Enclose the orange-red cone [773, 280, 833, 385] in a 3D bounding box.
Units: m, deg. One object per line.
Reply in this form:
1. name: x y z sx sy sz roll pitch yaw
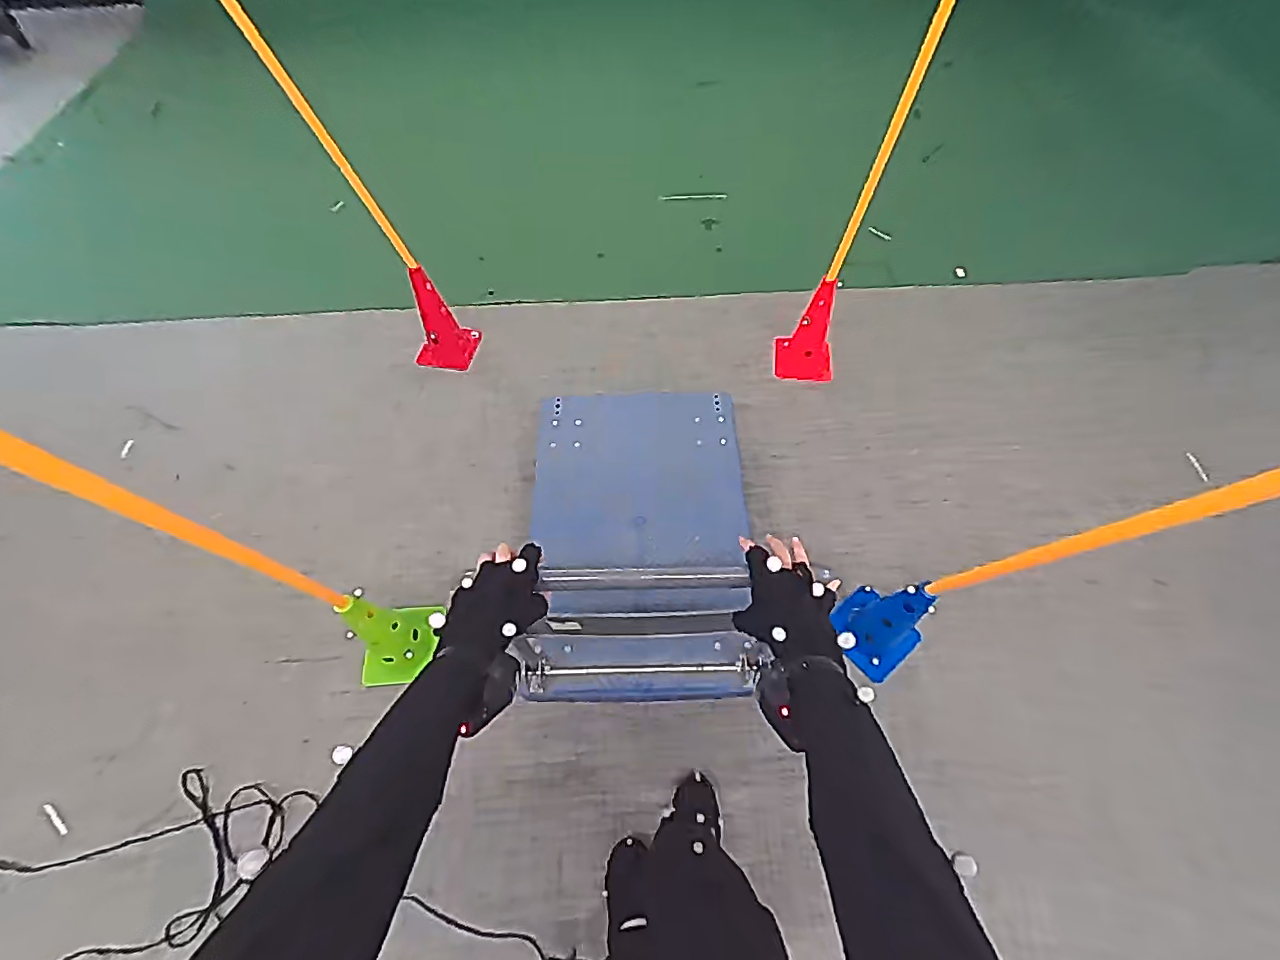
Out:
1. orange-red cone: 0.578 -0.510 1.807 0.198 0.360 0.199 7 60 5
